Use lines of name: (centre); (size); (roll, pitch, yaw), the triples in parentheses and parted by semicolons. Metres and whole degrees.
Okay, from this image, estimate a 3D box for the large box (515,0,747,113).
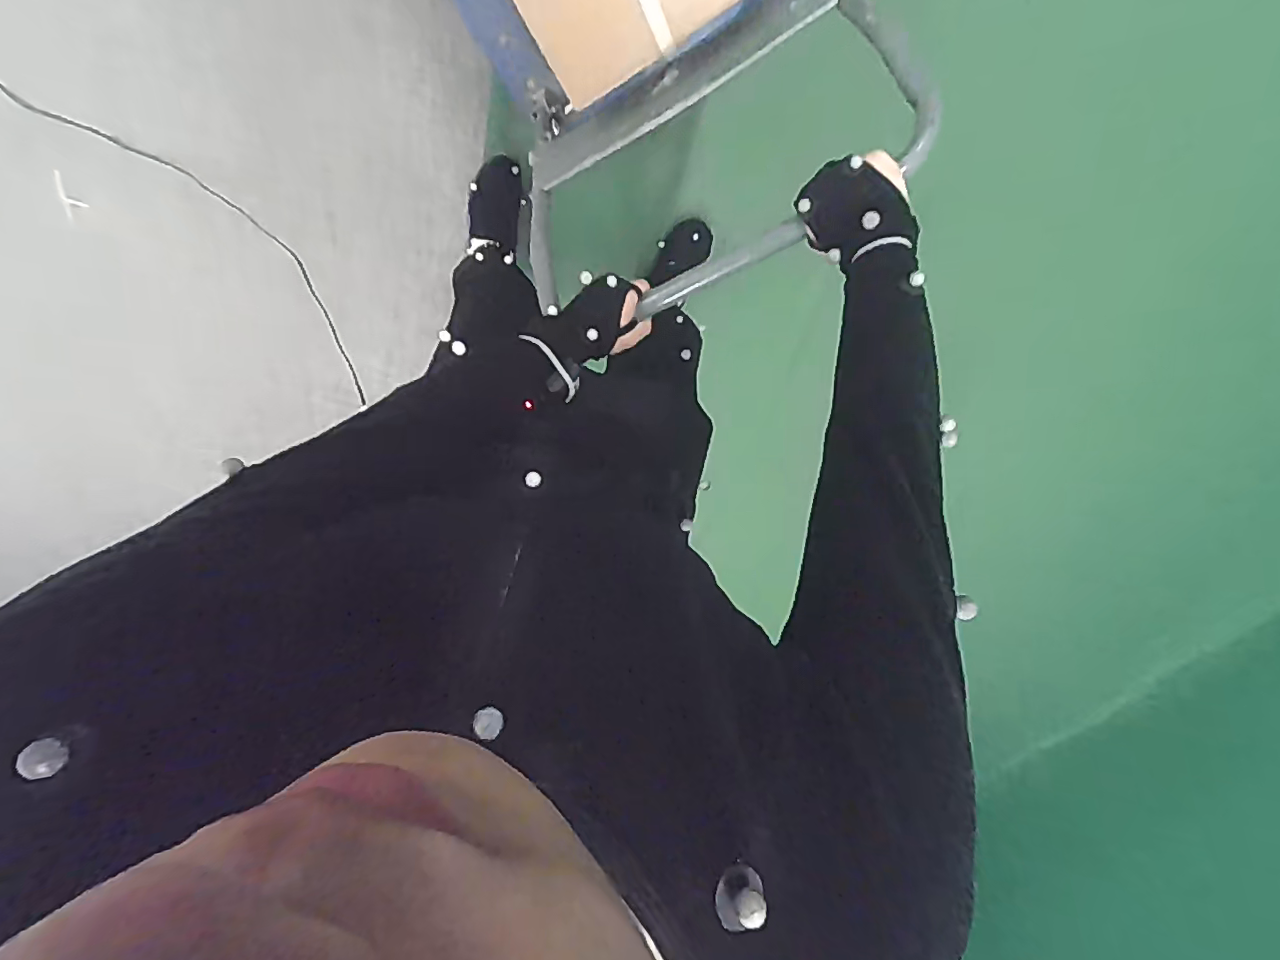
large box: (-0.058, -0.827, 0.731); (0.320, 0.320, 0.408); (-22, 137, 20)
